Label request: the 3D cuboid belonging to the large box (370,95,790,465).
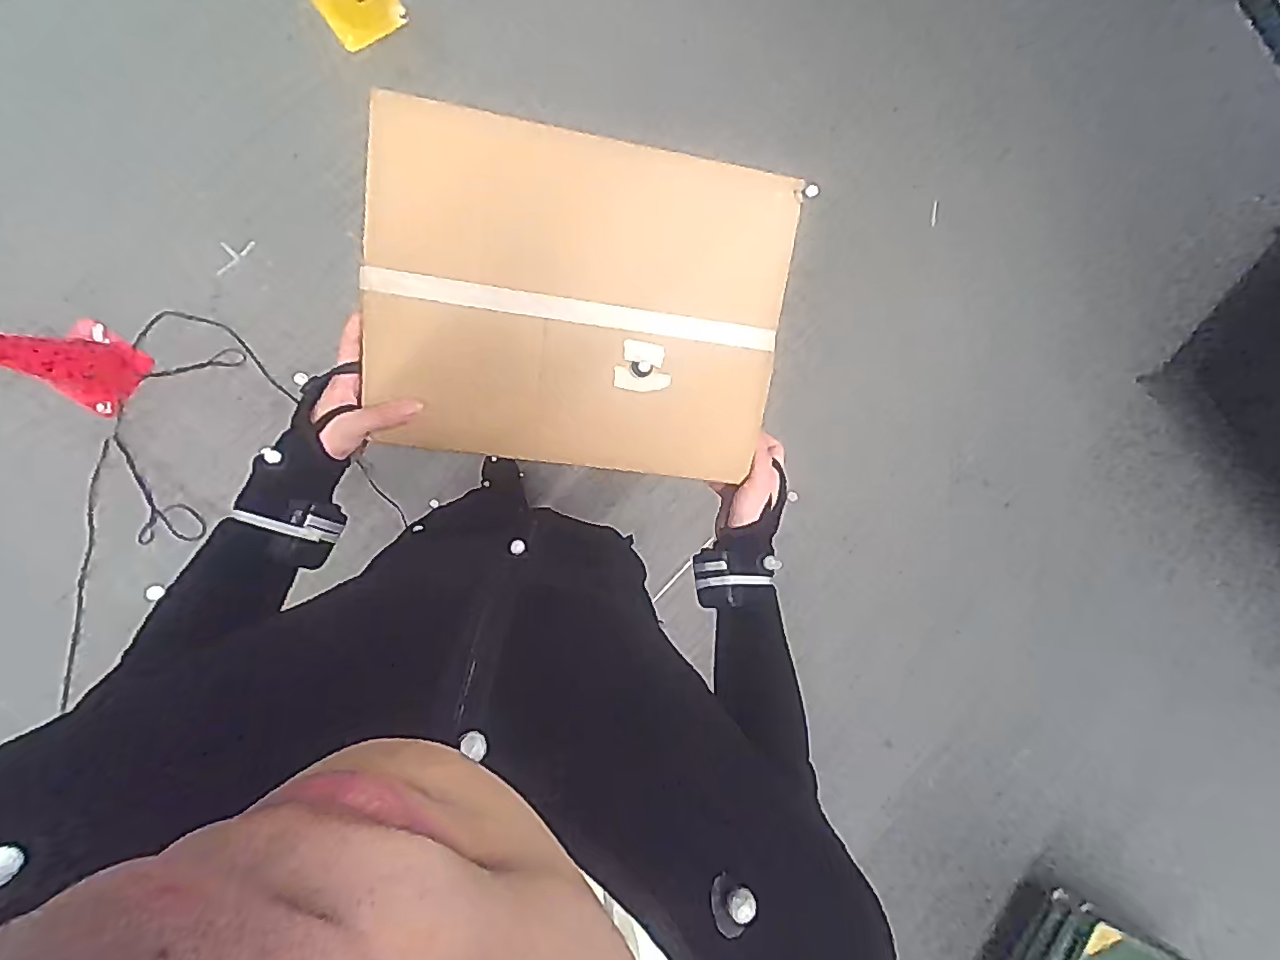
[{"bbox_3d":[-0.083,-0.213,0.684,0.408,0.320,0.320,5,104,-10],"label":"large box"}]
